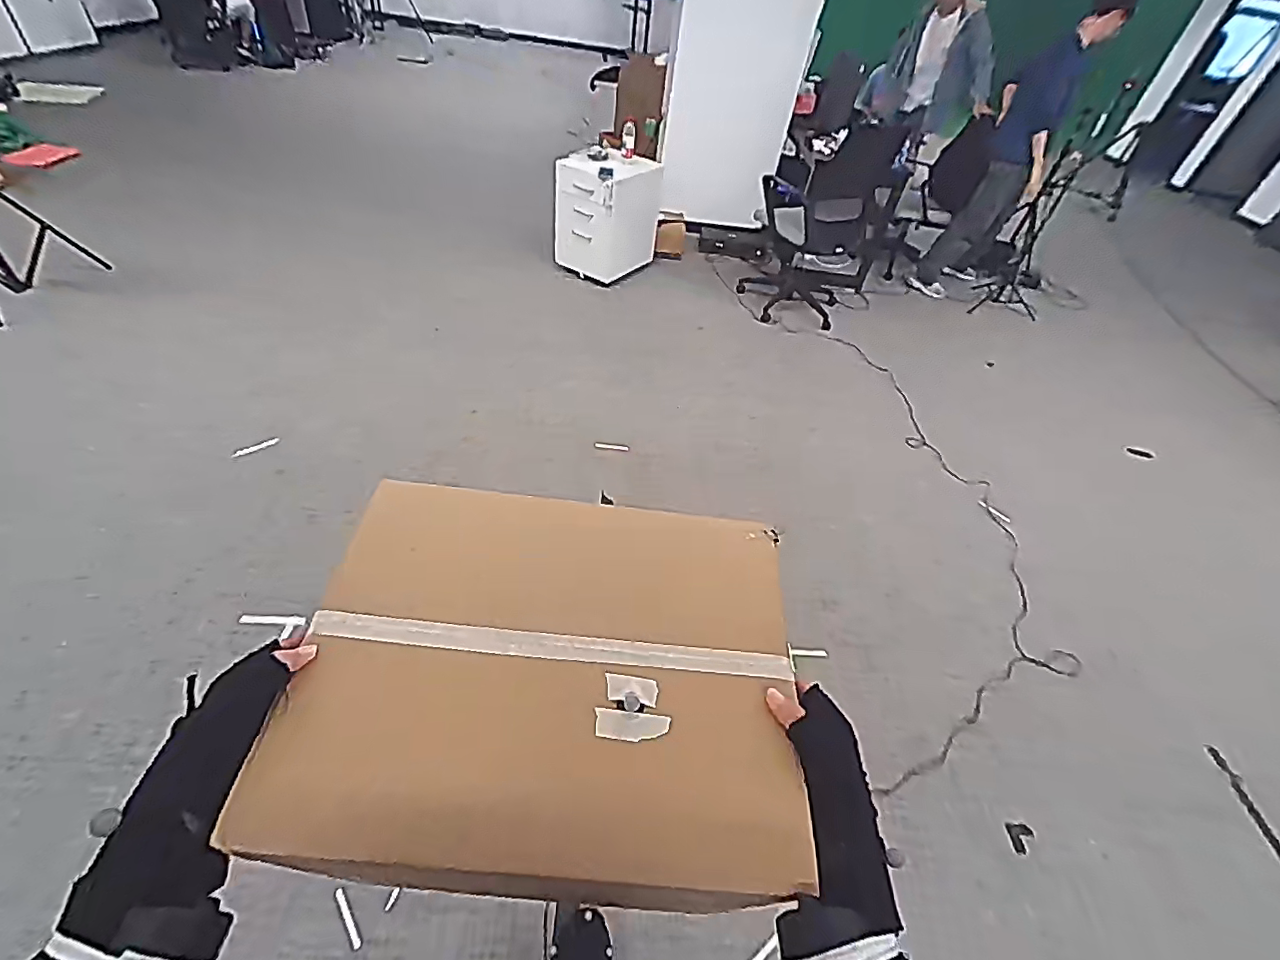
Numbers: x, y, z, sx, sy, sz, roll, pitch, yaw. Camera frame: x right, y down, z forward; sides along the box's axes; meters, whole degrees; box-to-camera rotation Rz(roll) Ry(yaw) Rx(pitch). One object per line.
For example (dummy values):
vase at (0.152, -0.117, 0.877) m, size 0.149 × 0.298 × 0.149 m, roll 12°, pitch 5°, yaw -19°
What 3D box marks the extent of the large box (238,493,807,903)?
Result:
large box at (-0.088, 0.244, 0.581) m, size 0.408 × 0.320 × 0.320 m, roll 7°, pitch 51°, yaw -3°
